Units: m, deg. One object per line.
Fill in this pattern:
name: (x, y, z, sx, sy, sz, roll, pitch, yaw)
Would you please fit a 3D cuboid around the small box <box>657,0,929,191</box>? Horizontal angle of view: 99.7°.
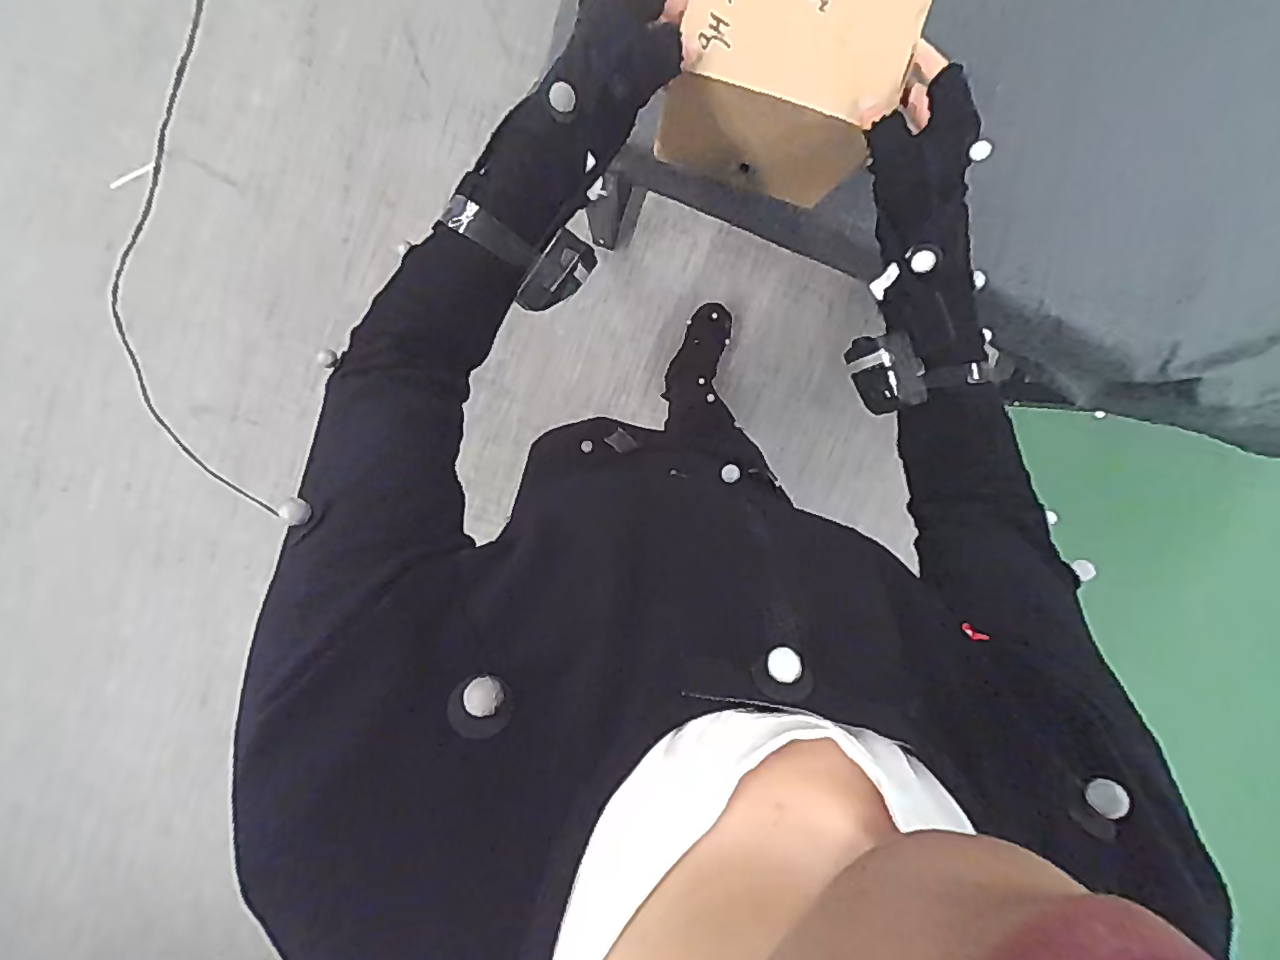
small box: (0.123, -0.380, 0.474, 0.179, 0.176, 0.168, 15, 99, -6)
